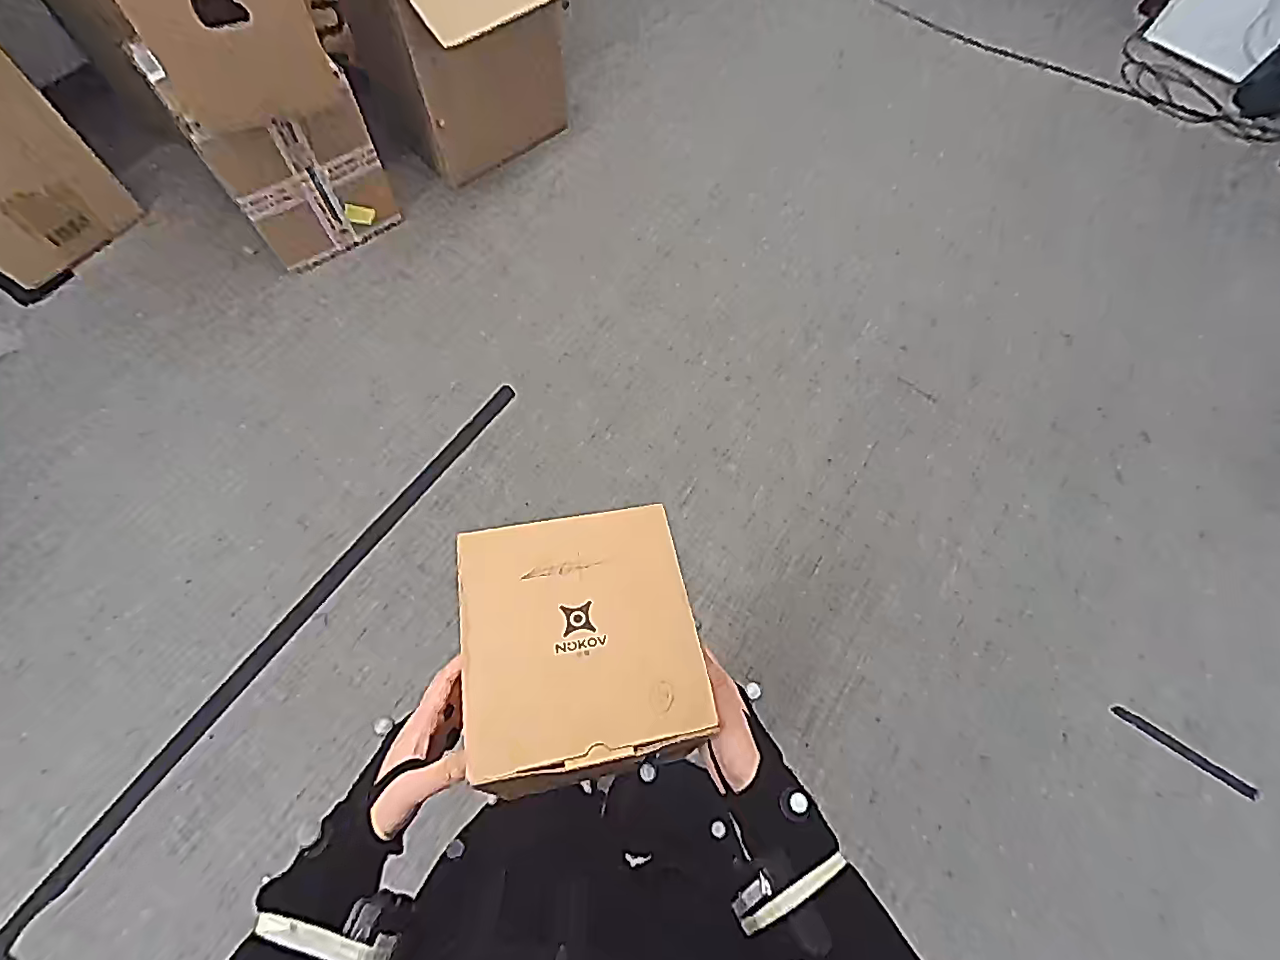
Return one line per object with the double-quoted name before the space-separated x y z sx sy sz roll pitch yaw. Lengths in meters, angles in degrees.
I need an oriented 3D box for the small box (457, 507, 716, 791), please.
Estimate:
"small box" -0.050 0.147 0.452 0.168 0.176 0.179 -8 58 -11
